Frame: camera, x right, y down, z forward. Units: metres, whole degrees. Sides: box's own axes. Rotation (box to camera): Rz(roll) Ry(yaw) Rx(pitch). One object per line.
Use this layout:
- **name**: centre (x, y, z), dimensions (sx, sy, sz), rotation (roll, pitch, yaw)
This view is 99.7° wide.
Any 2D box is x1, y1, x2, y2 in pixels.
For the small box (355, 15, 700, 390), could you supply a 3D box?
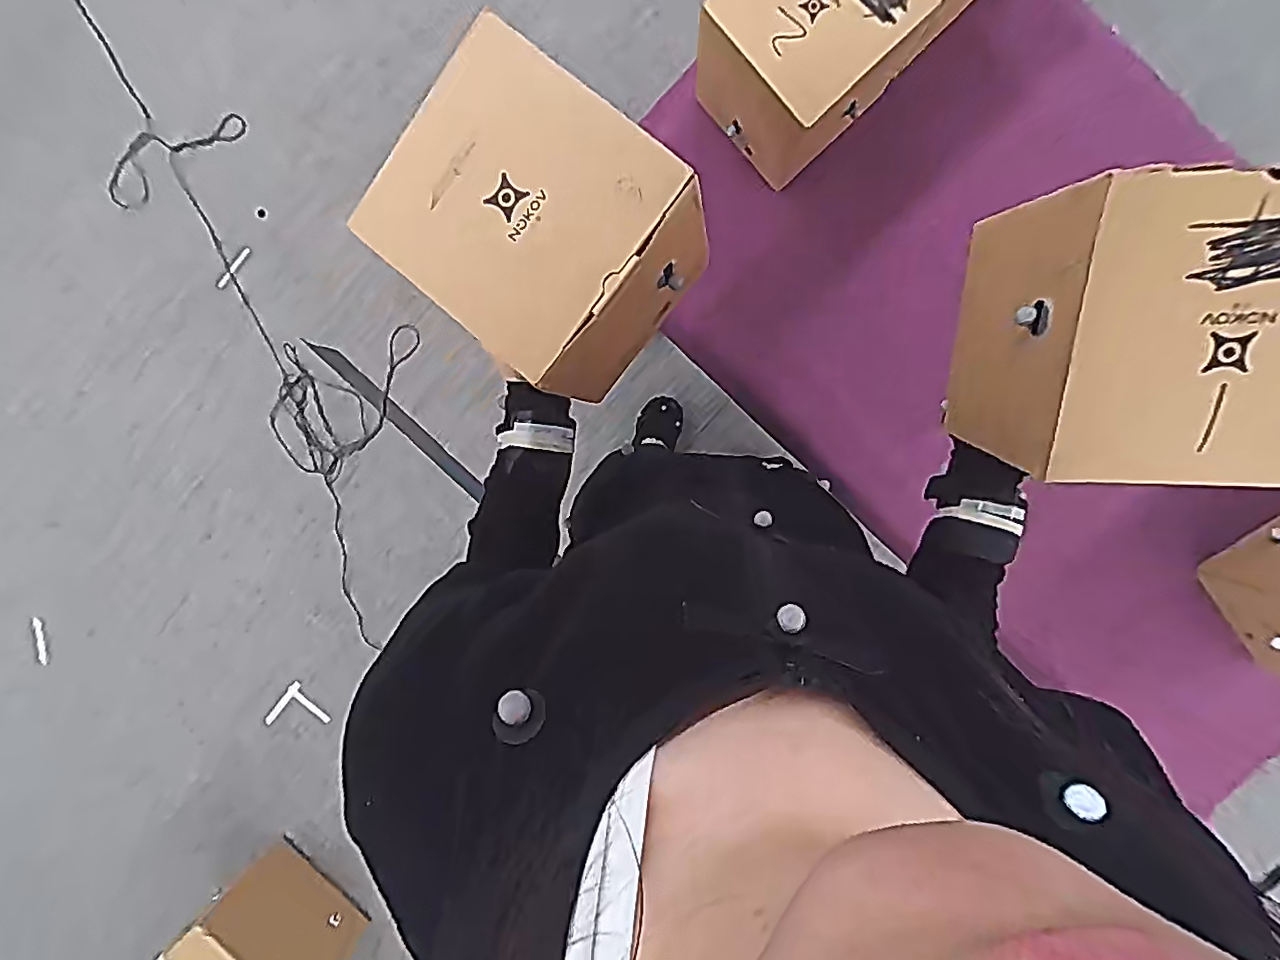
- **small box**: centre (-0.066, -0.186, 0.426), dimensions (0.179, 0.176, 0.168), rotation (40, 99, 5)

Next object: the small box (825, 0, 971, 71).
- **small box**: centre (0.319, -0.614, 0.587), dimensions (0.179, 0.176, 0.168), rotation (-43, 93, 7)

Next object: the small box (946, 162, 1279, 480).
- **small box**: centre (0.344, -0.107, 0.384), dimensions (0.168, 0.176, 0.179), rotation (2, 107, 8)
